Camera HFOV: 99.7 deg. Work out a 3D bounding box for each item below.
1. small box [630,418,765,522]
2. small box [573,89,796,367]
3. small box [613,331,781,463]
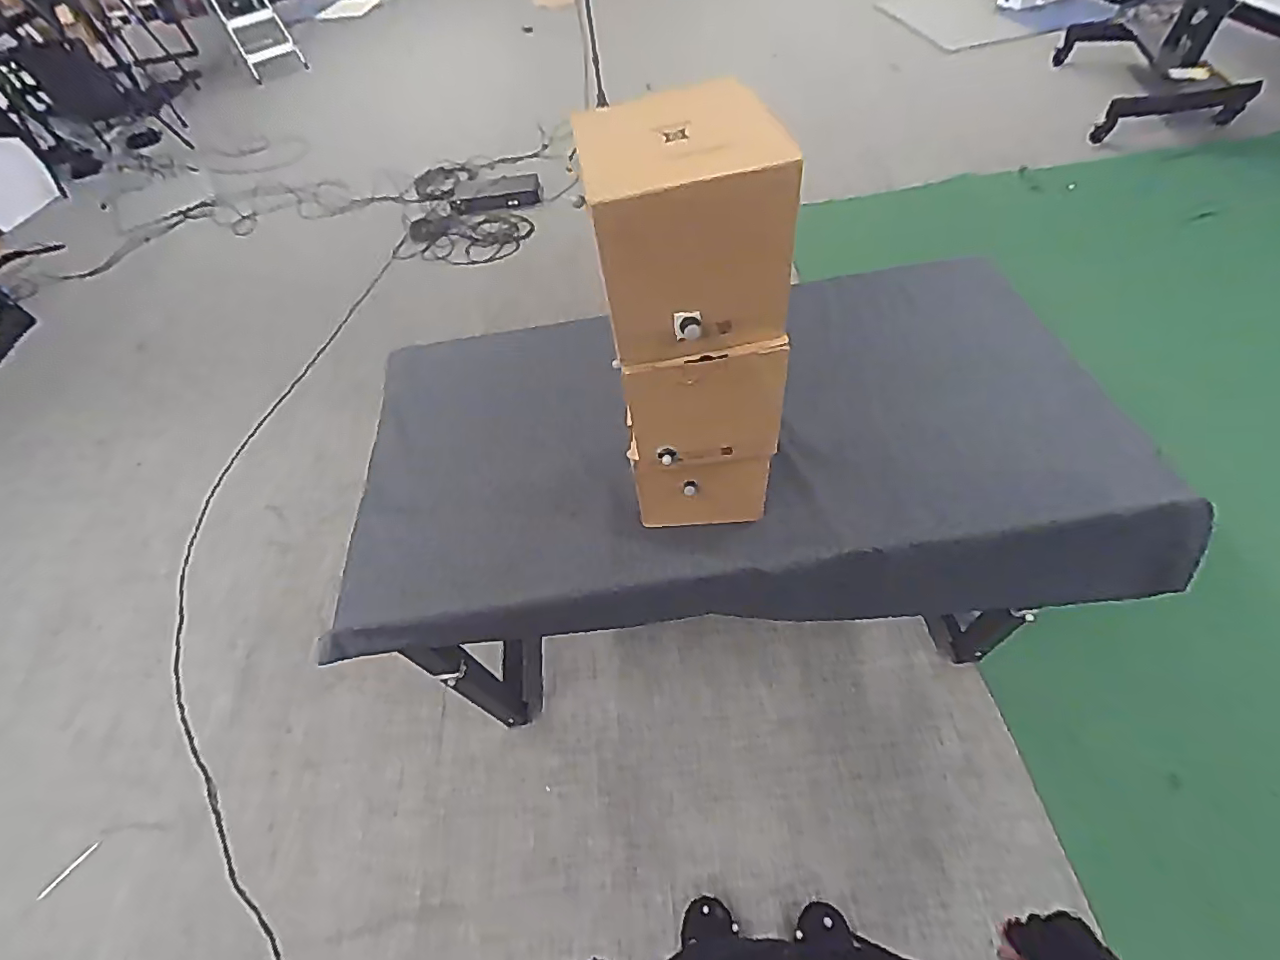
[{"bbox_3d":[0.081,-0.051,0.791,0.179,0.176,0.168,-6,52,3],"label":"small box"},{"bbox_3d":[0.037,-0.240,0.526,0.168,0.176,0.179,-12,54,1],"label":"small box"},{"bbox_3d":[0.061,-0.137,0.649,0.168,0.176,0.179,-11,54,1],"label":"small box"}]
